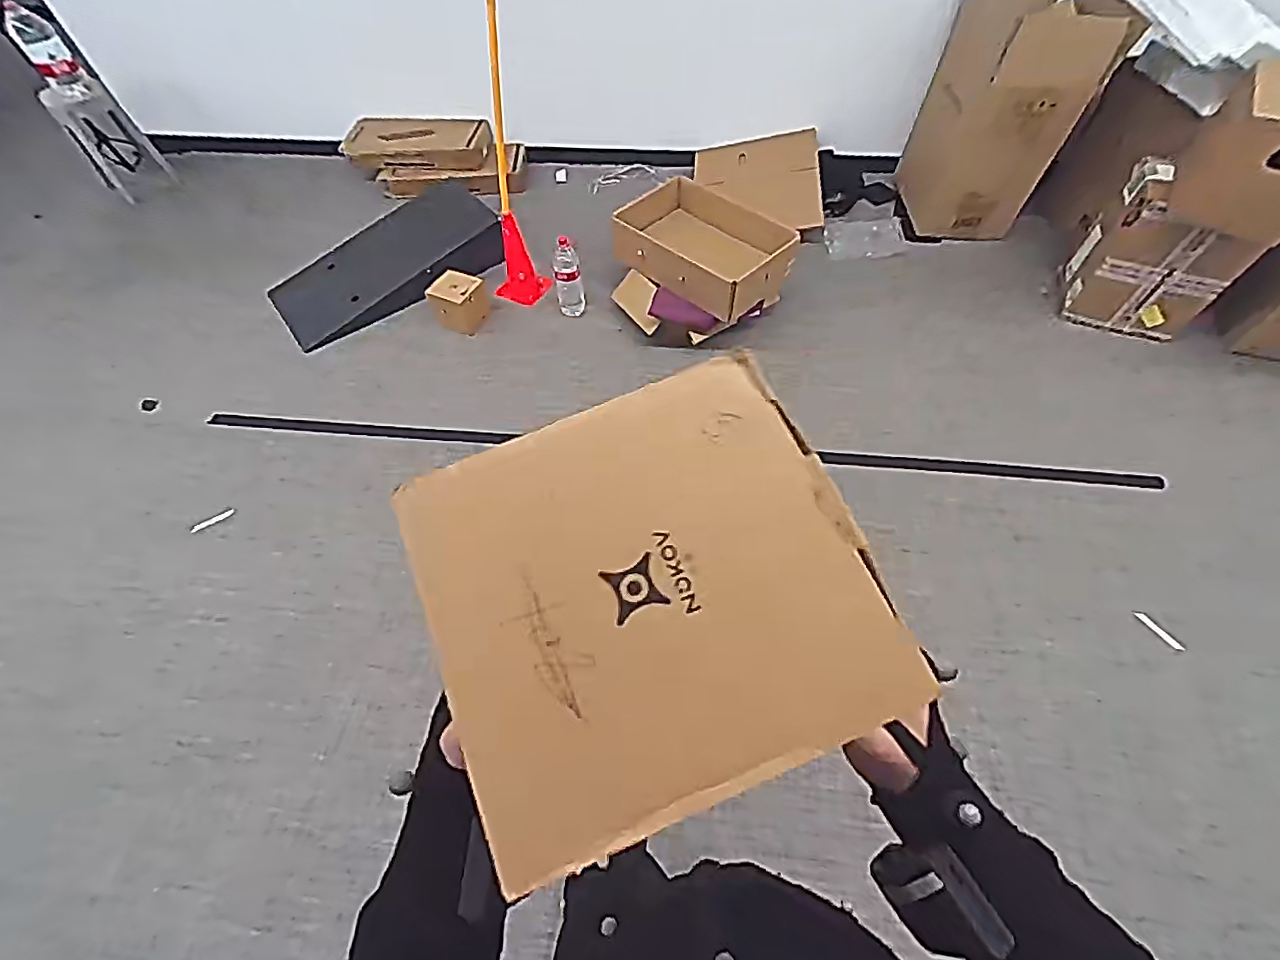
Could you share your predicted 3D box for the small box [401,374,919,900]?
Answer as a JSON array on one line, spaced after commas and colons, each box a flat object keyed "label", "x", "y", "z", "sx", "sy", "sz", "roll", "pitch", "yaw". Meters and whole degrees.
[{"label": "small box", "x": 0.006, "y": 0.076, "z": 0.305, "sx": 0.179, "sy": 0.176, "sz": 0.168, "roll": -25, "pitch": 71, "yaw": -3}]
